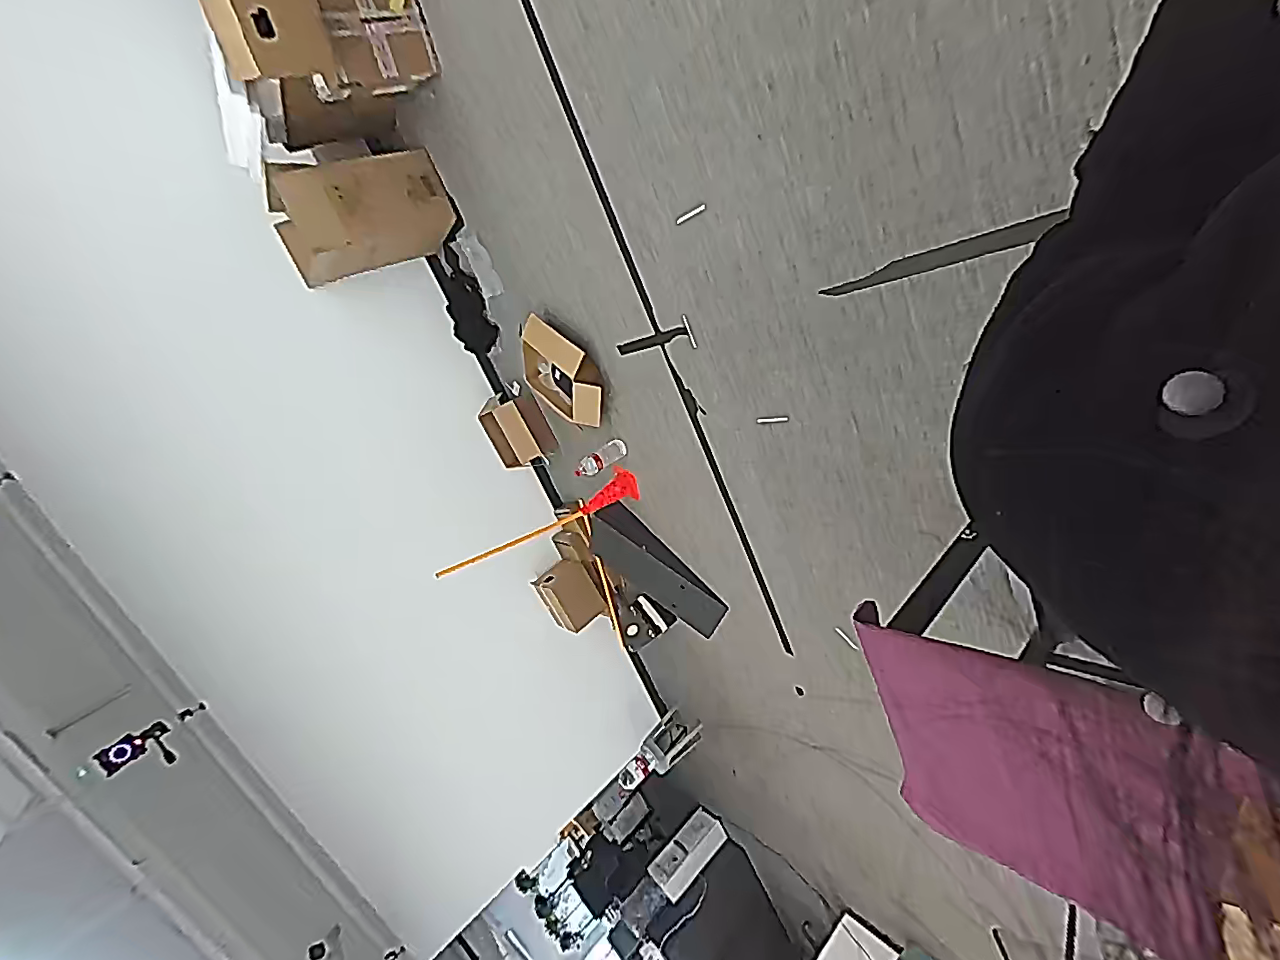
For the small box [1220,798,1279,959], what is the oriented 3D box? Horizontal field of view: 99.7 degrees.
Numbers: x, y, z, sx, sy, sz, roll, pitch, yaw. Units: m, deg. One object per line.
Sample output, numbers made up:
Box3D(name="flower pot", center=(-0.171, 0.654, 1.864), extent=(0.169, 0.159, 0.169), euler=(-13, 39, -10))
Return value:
Box3D(name="small box", center=(0.866, 0.556, 0.680), extent=(0.168, 0.176, 0.179), euler=(6, 125, 53))
